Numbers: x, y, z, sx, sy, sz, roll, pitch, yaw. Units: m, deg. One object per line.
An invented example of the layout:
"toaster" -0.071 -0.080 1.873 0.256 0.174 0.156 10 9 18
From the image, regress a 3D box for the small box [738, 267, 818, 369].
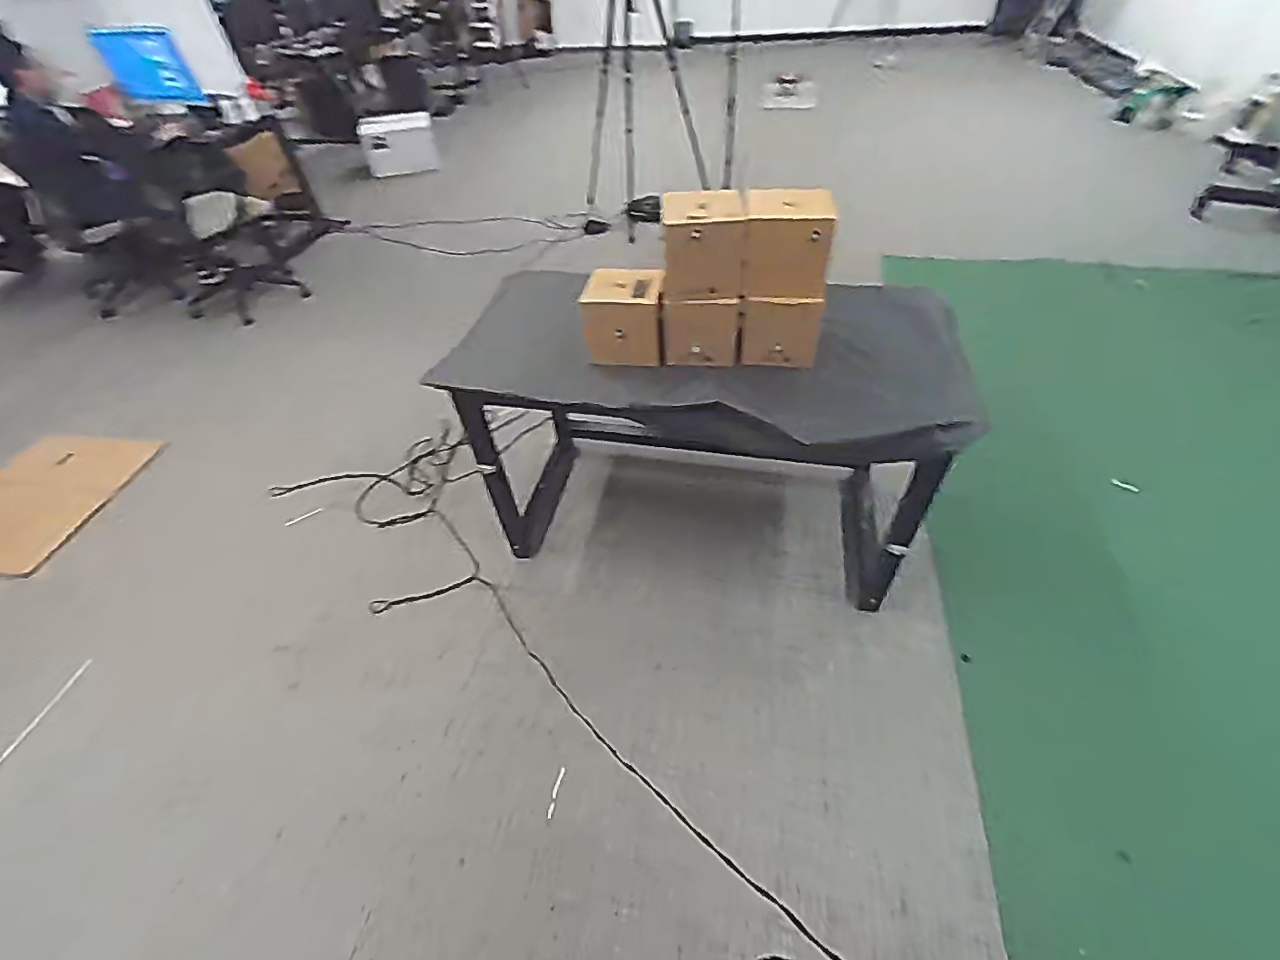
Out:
"small box" 0.321 -0.385 1.280 0.168 0.176 0.179 4 47 9
